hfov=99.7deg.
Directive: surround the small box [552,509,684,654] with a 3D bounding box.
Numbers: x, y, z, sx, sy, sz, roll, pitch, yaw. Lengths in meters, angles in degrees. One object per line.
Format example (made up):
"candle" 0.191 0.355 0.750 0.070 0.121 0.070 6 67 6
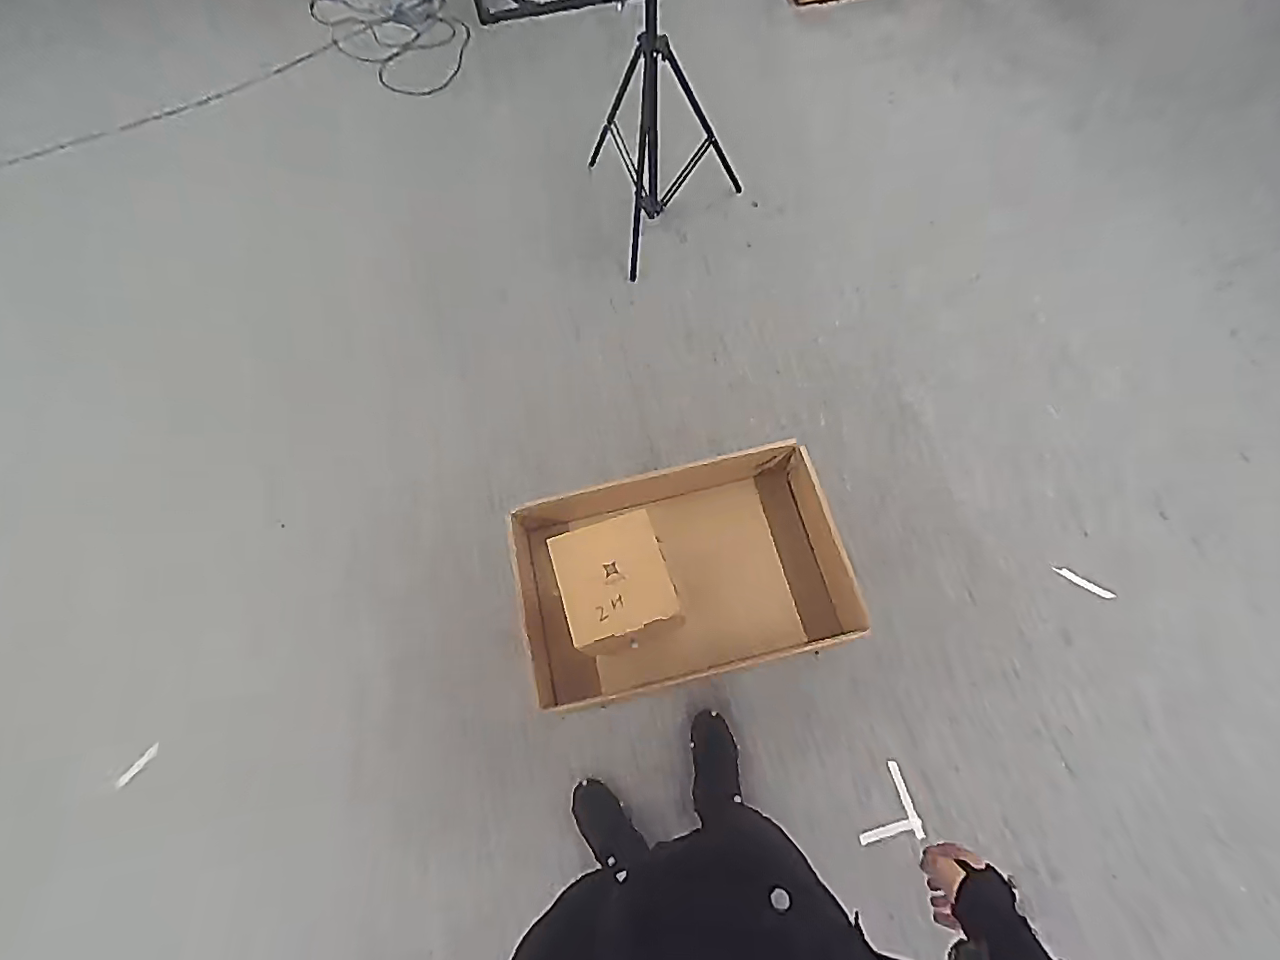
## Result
"small box" -0.034 0.174 0.892 0.168 0.176 0.179 -18 69 -4
